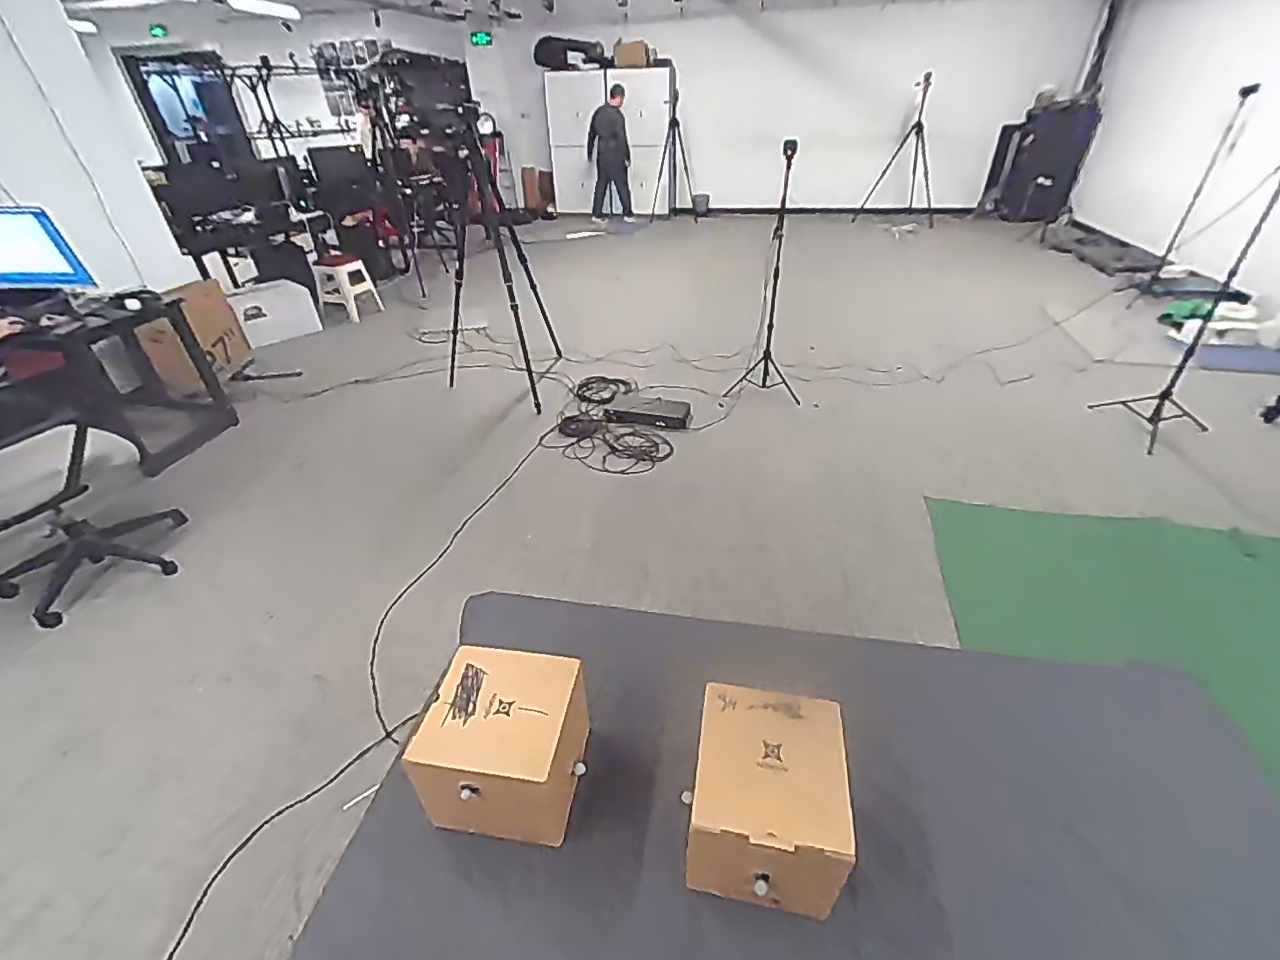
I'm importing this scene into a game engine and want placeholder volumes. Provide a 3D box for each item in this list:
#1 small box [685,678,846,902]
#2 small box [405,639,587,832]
[{"bbox_3d":[0.148,0.378,0.663,0.168,0.176,0.179,6,37,10],"label":"small box"},{"bbox_3d":[-0.176,0.340,0.724,0.179,0.176,0.168,5,36,7],"label":"small box"}]
